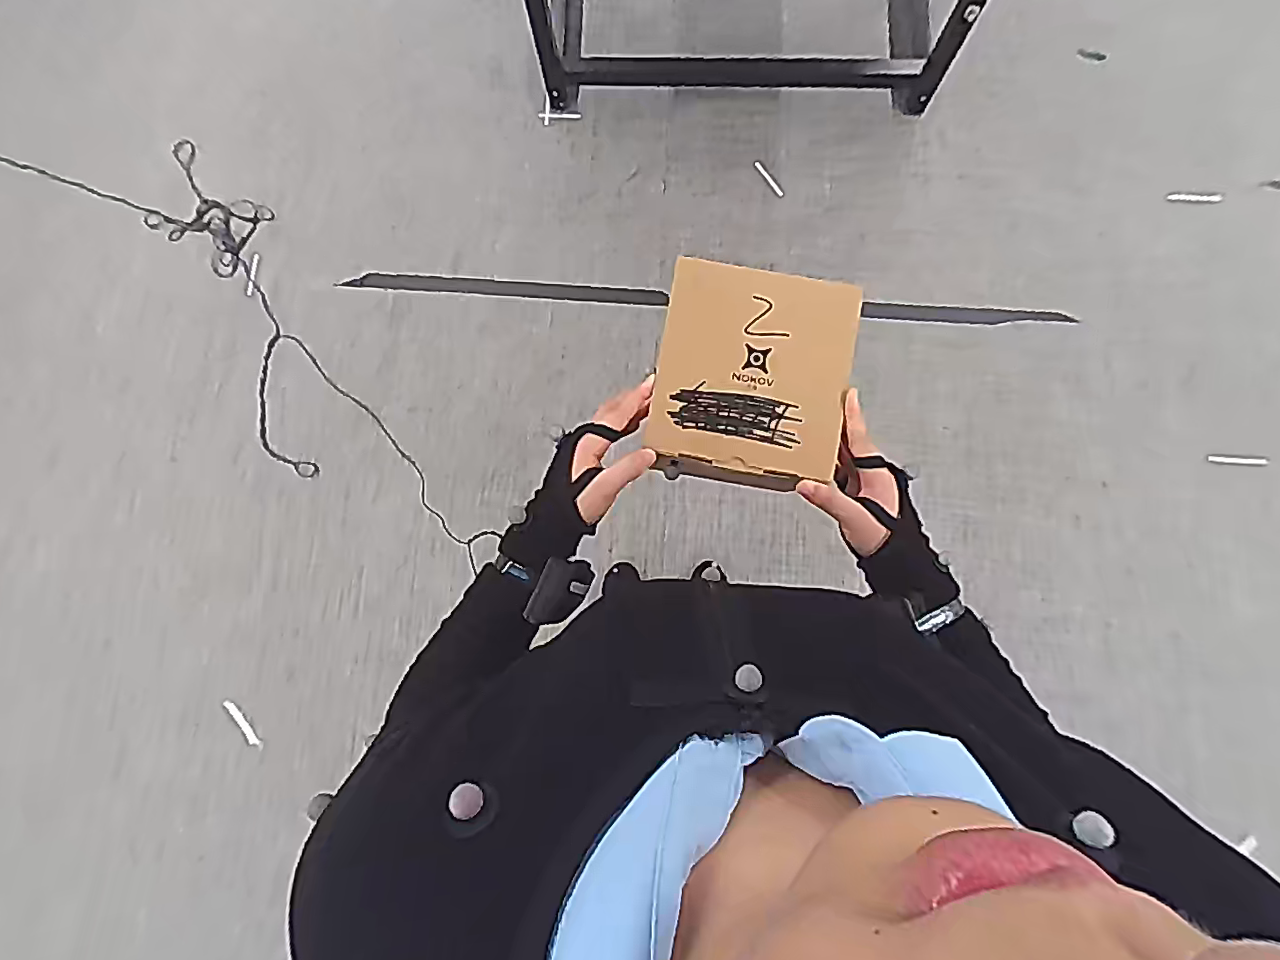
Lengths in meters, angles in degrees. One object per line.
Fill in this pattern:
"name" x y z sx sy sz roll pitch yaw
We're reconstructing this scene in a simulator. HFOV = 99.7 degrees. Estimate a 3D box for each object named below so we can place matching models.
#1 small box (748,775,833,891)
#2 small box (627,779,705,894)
"small box" 0.361 0.853 1.319 0.168 0.176 0.179 4 81 2
"small box" 0.063 0.861 1.325 0.168 0.176 0.179 7 82 4
